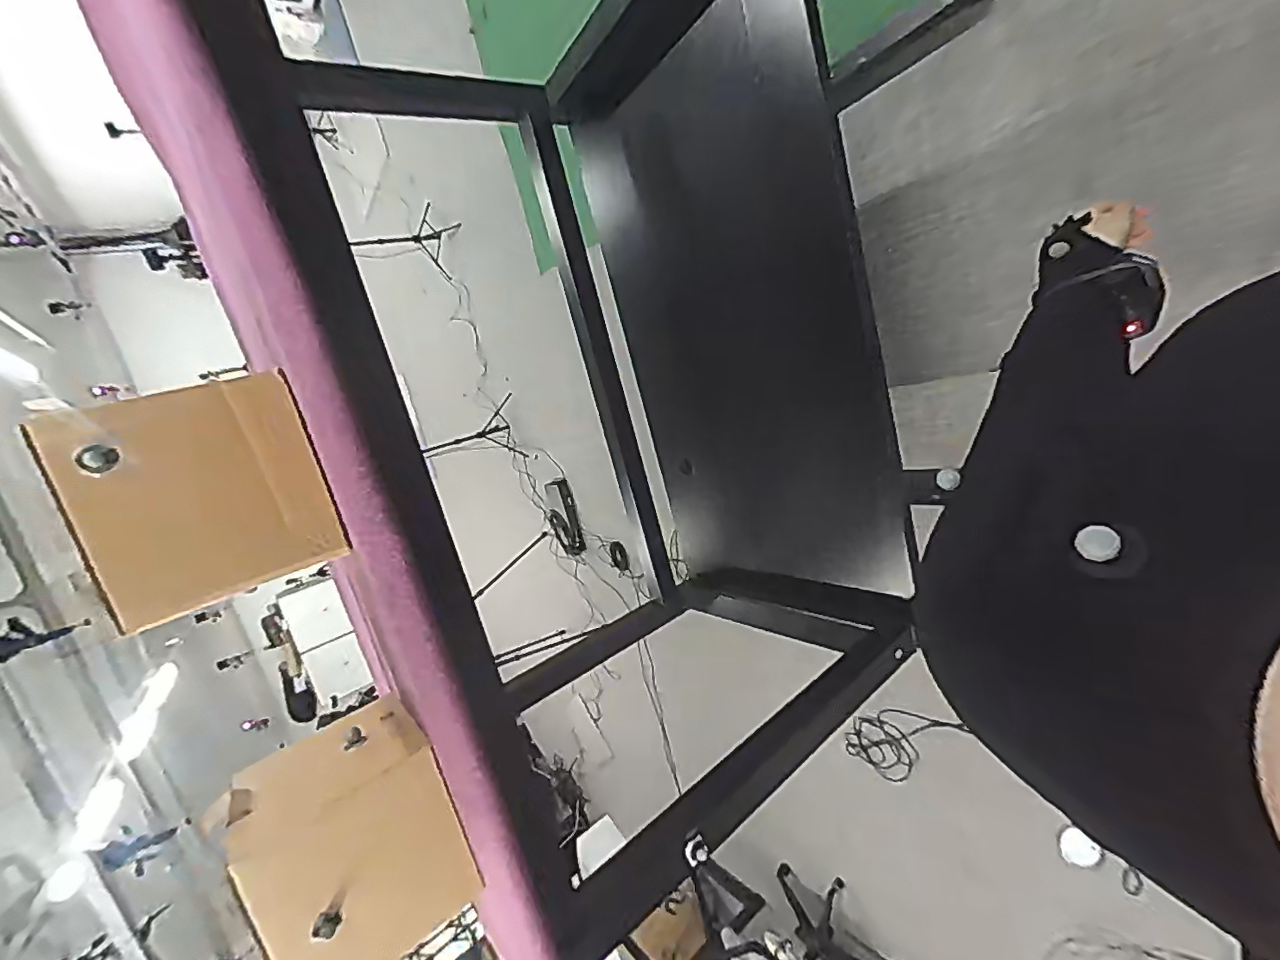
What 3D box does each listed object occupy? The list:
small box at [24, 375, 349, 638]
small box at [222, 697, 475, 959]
[{"bbox_3d":[-0.392,0.014,0.506,0.168,0.176,0.179,-1,107,57],"label":"small box"},{"bbox_3d":[-0.288,0.360,0.549,0.168,0.176,0.179,-2,106,54],"label":"small box"}]
